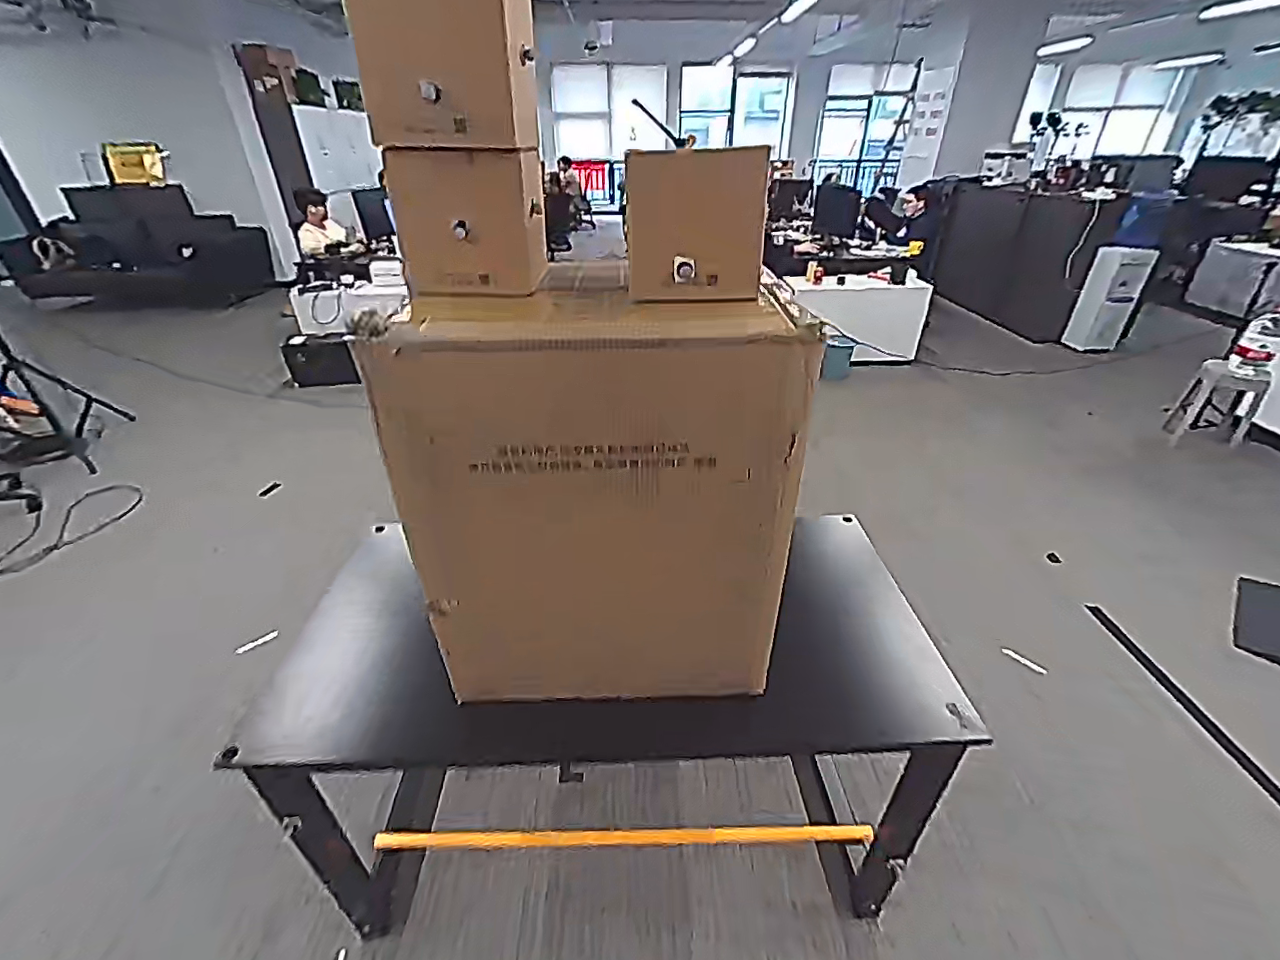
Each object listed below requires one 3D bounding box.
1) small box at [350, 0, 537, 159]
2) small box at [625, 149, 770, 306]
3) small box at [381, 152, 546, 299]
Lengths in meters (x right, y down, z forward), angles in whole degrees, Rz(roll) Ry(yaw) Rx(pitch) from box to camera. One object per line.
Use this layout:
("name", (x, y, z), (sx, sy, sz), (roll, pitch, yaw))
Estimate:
("small box", (-0.220, -0.485, 0.645), (0.168, 0.176, 0.179), (0, 32, -1))
("small box", (0.068, -0.335, 0.714), (0.168, 0.176, 0.179), (-2, 32, 2))
("small box", (-0.225, -0.353, 0.746), (0.168, 0.176, 0.179), (0, 32, -2))
